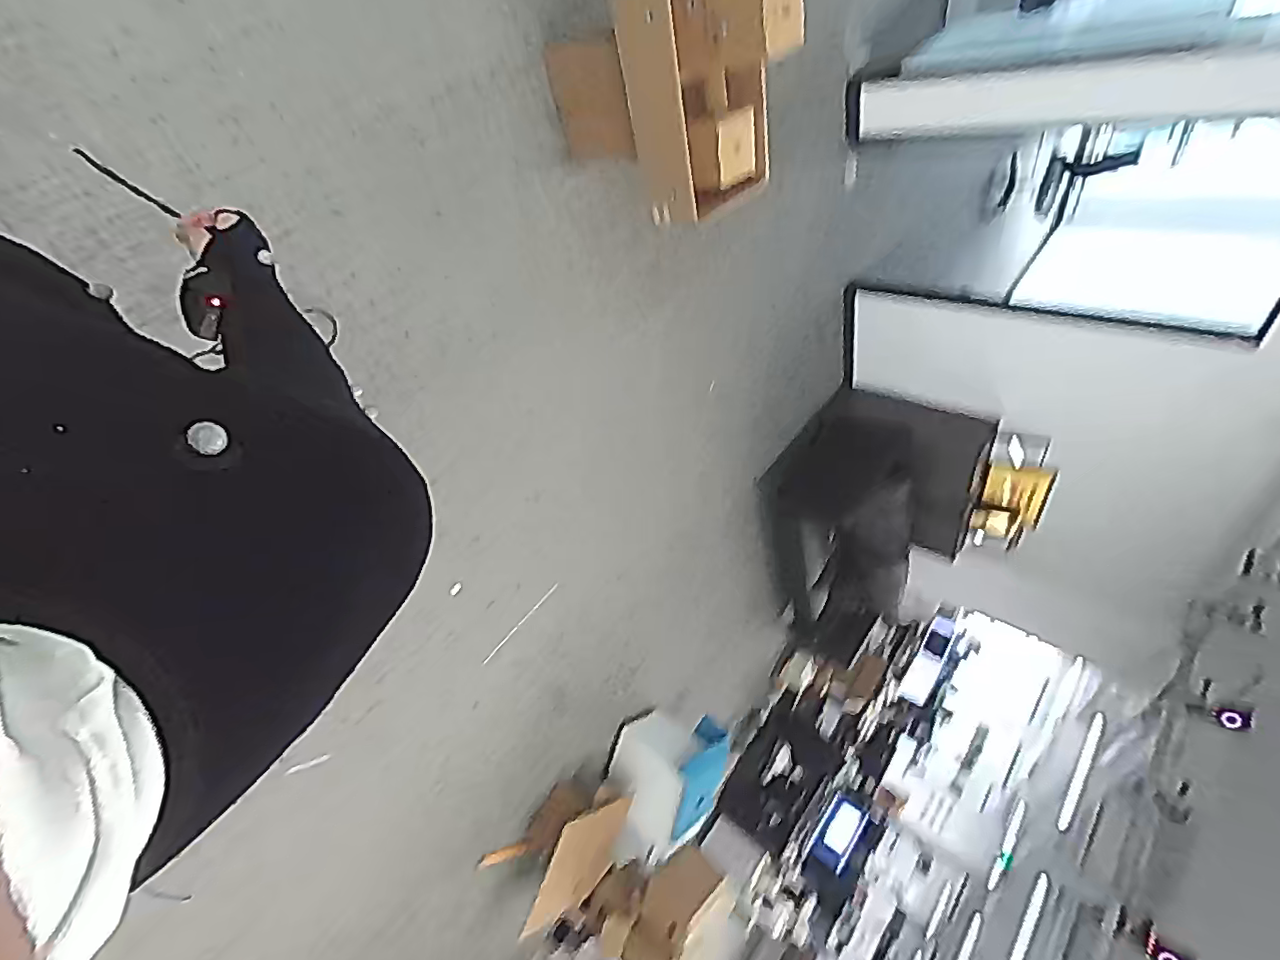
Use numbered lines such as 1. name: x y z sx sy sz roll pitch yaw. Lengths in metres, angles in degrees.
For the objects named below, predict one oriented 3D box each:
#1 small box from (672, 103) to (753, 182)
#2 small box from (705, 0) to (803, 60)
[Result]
1. small box: 0.220 -1.011 1.616 0.179 0.176 0.168 -41 138 -28
2. small box: 0.280 -1.159 1.324 0.179 0.176 0.168 -44 138 -25
